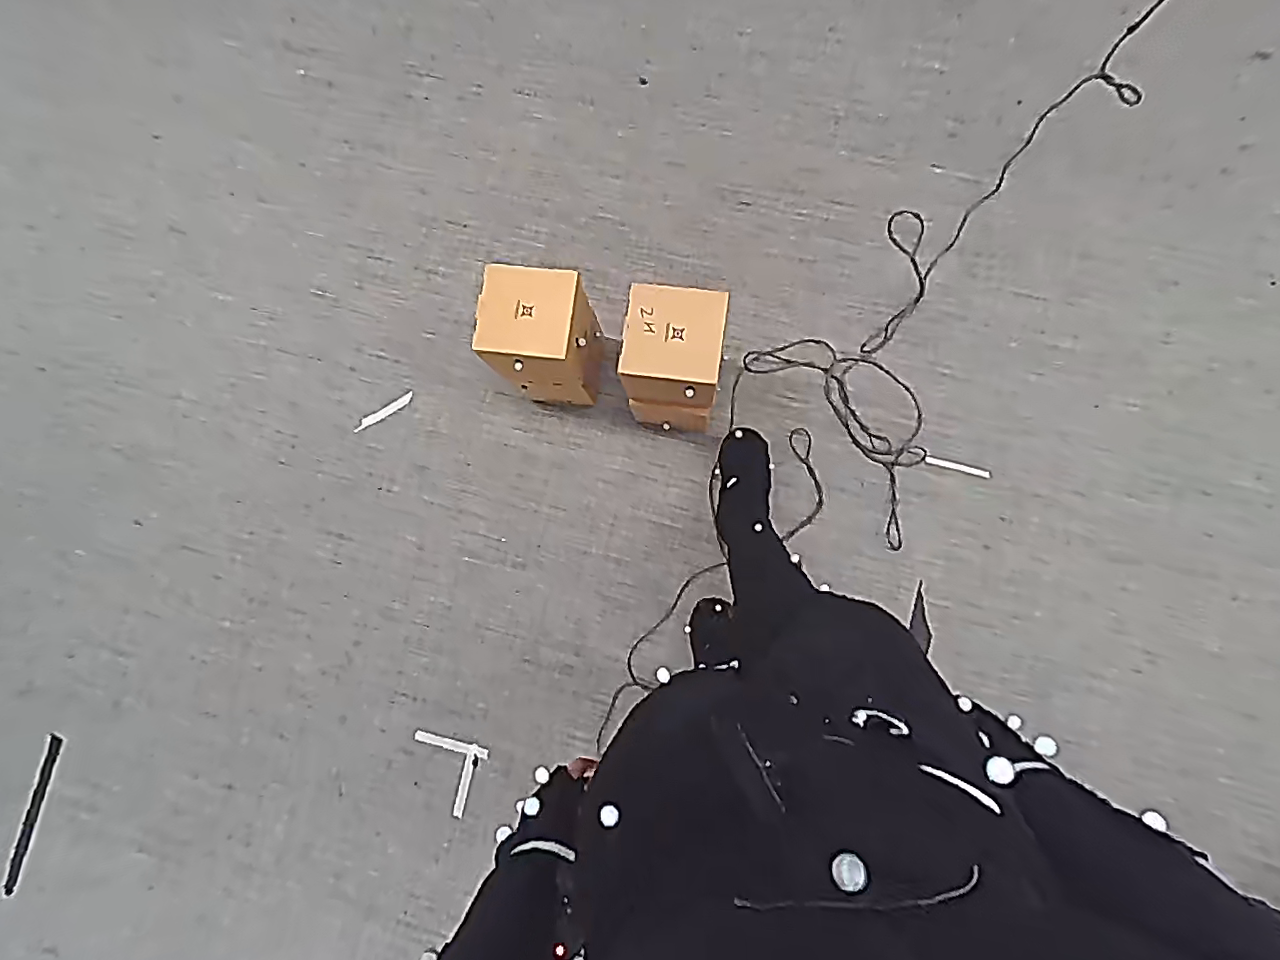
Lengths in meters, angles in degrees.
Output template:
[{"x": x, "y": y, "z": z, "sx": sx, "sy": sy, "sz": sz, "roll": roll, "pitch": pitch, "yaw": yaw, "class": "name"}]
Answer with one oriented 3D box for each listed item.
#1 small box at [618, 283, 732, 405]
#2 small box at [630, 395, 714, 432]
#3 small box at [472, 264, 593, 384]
[{"x": 0.068, "y": -0.243, "z": 1.004, "sx": 0.179, "sy": 0.176, "sz": 0.168, "roll": 8, "pitch": 84, "yaw": 7, "class": "small box"}, {"x": 0.082, "y": -0.214, "z": 1.166, "sx": 0.168, "sy": 0.176, "sz": 0.179, "roll": 10, "pitch": 85, "yaw": 7, "class": "small box"}, {"x": -0.195, "y": -0.290, "z": 1.037, "sx": 0.179, "sy": 0.176, "sz": 0.168, "roll": 7, "pitch": 84, "yaw": 6, "class": "small box"}]
